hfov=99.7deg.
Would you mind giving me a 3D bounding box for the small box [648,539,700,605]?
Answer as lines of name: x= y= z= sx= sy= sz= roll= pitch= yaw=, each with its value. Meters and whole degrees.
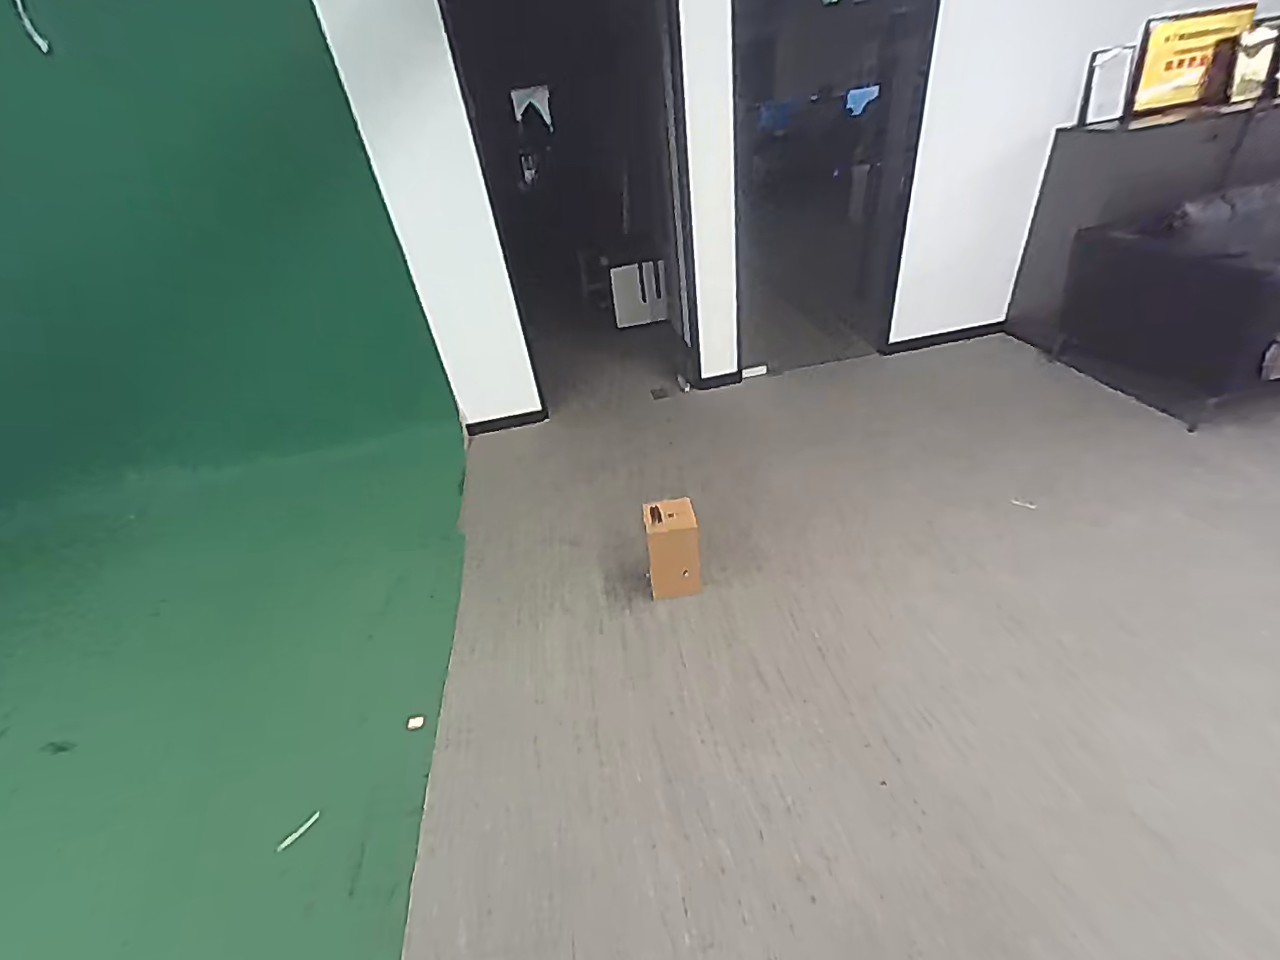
small box: x=0.127 y=0.344 z=2.008 sx=0.179 sy=0.176 sz=0.168 roll=-8 pitch=35 yaw=1
